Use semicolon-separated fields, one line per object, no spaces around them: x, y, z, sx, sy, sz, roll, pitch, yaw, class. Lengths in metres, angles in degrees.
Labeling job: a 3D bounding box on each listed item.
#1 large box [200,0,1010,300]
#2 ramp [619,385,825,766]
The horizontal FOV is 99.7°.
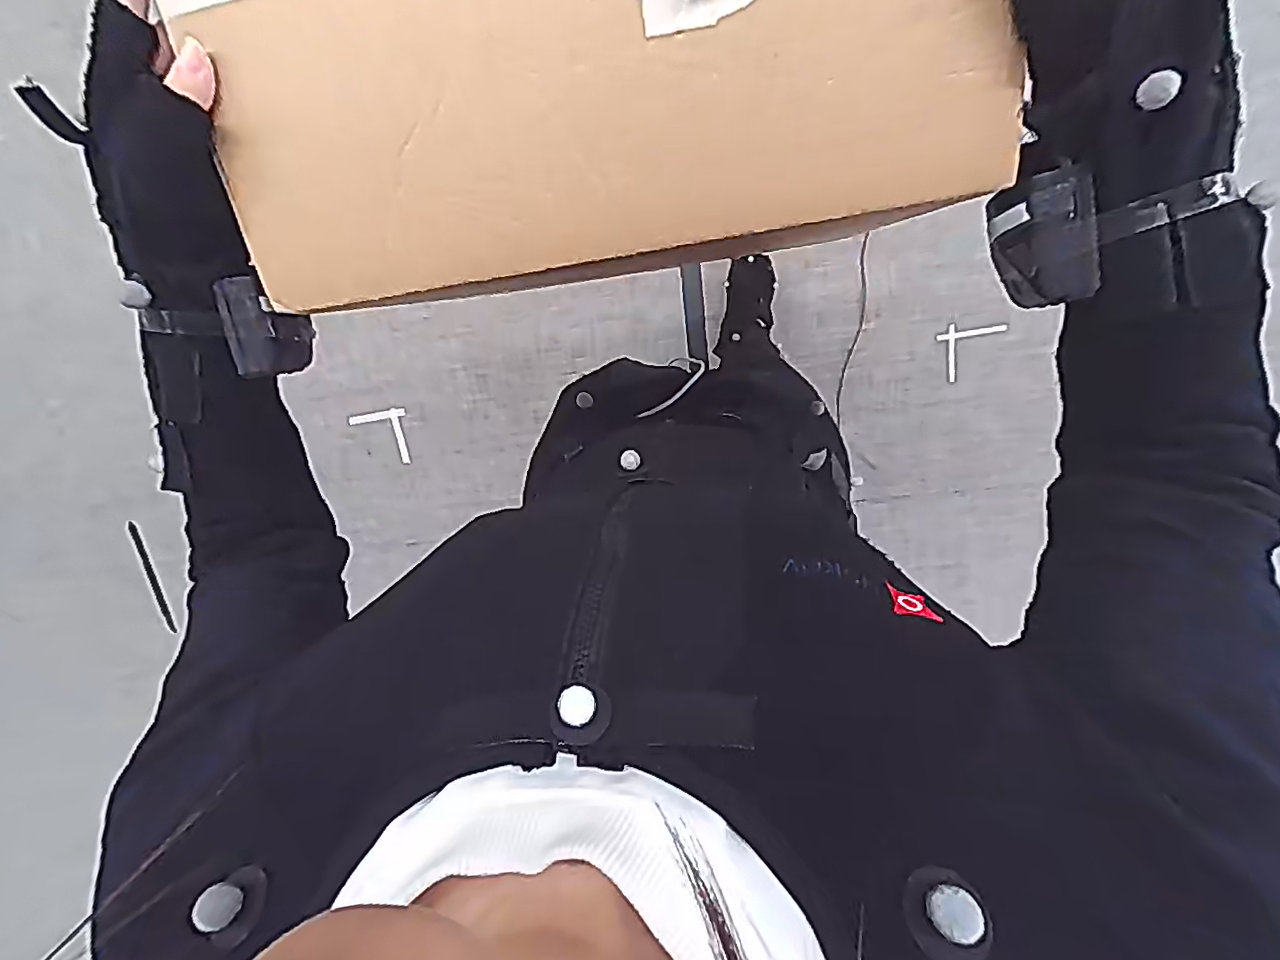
-0.022;-0.327;0.390;0.408;0.320;0.320;-6;110;9;large box
0.212;0.267;1.428;0.509;0.206;0.991;-4;103;10;ramp
